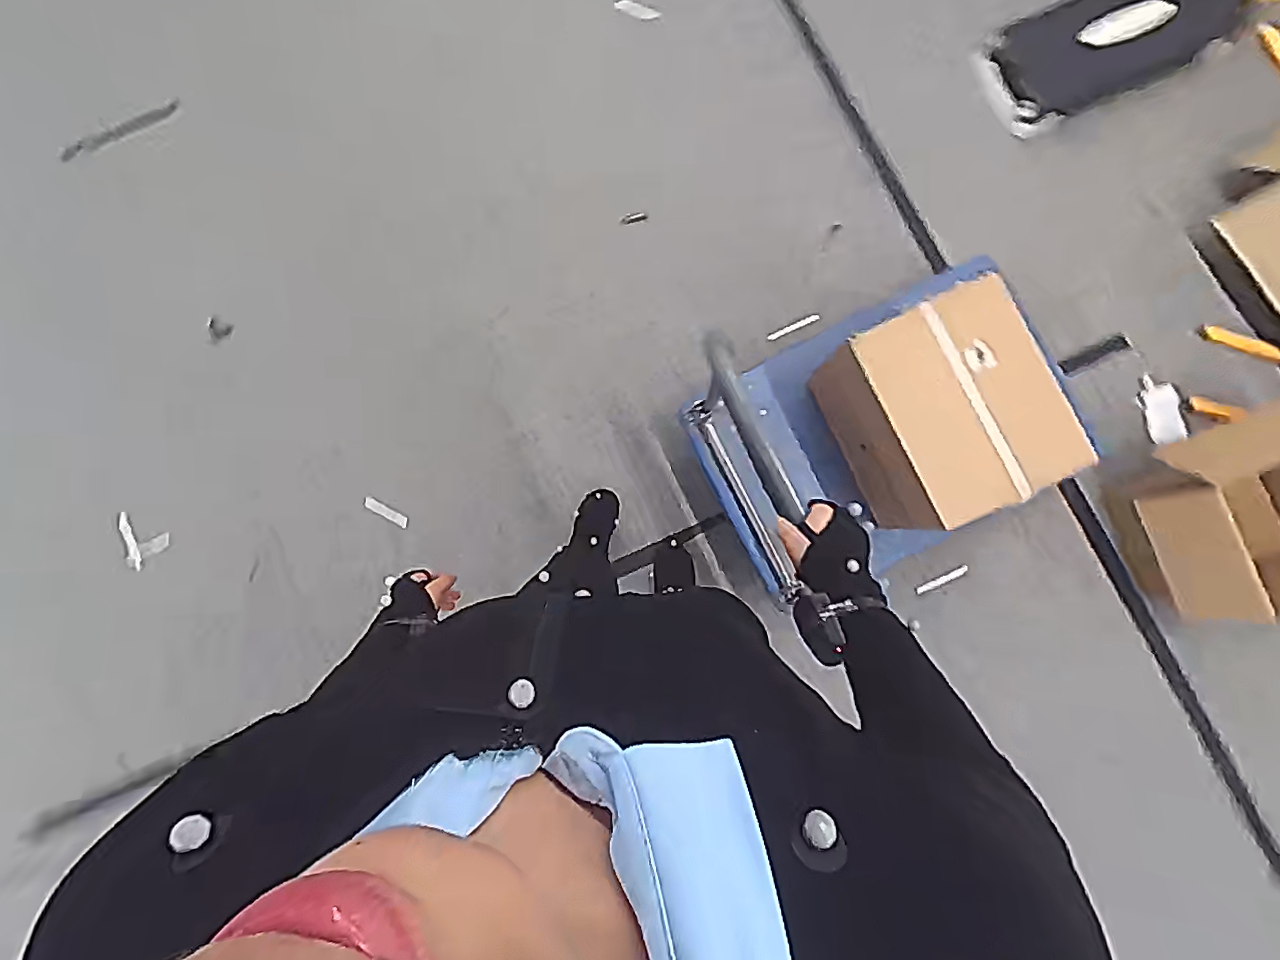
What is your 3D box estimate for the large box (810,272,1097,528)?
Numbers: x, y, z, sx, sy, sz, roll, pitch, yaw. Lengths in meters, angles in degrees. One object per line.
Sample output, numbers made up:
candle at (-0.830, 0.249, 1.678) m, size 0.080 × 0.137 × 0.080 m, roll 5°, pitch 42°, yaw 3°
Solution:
large box at (0.619, -0.141, 1.148) m, size 0.320 × 0.320 × 0.408 m, roll -24°, pitch 84°, yaw 0°
